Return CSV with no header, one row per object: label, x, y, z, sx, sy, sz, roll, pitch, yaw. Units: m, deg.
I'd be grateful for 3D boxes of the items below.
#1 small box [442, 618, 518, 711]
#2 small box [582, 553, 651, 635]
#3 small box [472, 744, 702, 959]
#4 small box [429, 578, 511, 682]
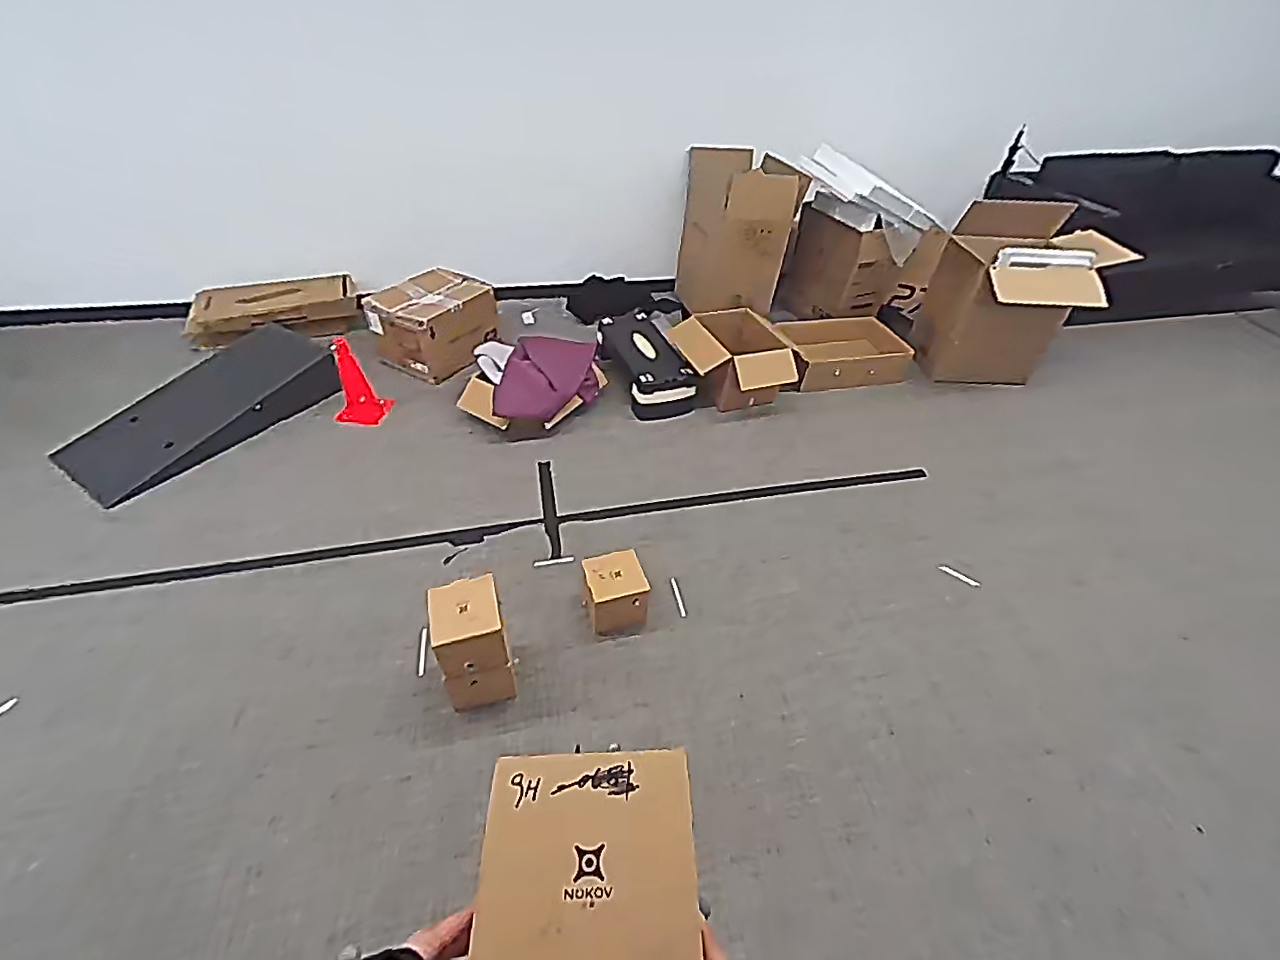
small box,-0.442,0.514,1.496,0.179,0.176,0.168,-9,44,-14
small box,-0.079,0.358,1.695,0.179,0.176,0.168,-11,44,-16
small box,-0.034,0.349,0.470,0.168,0.176,0.179,-3,48,0
small box,-0.438,0.386,1.394,0.168,0.176,0.179,-13,46,-15
